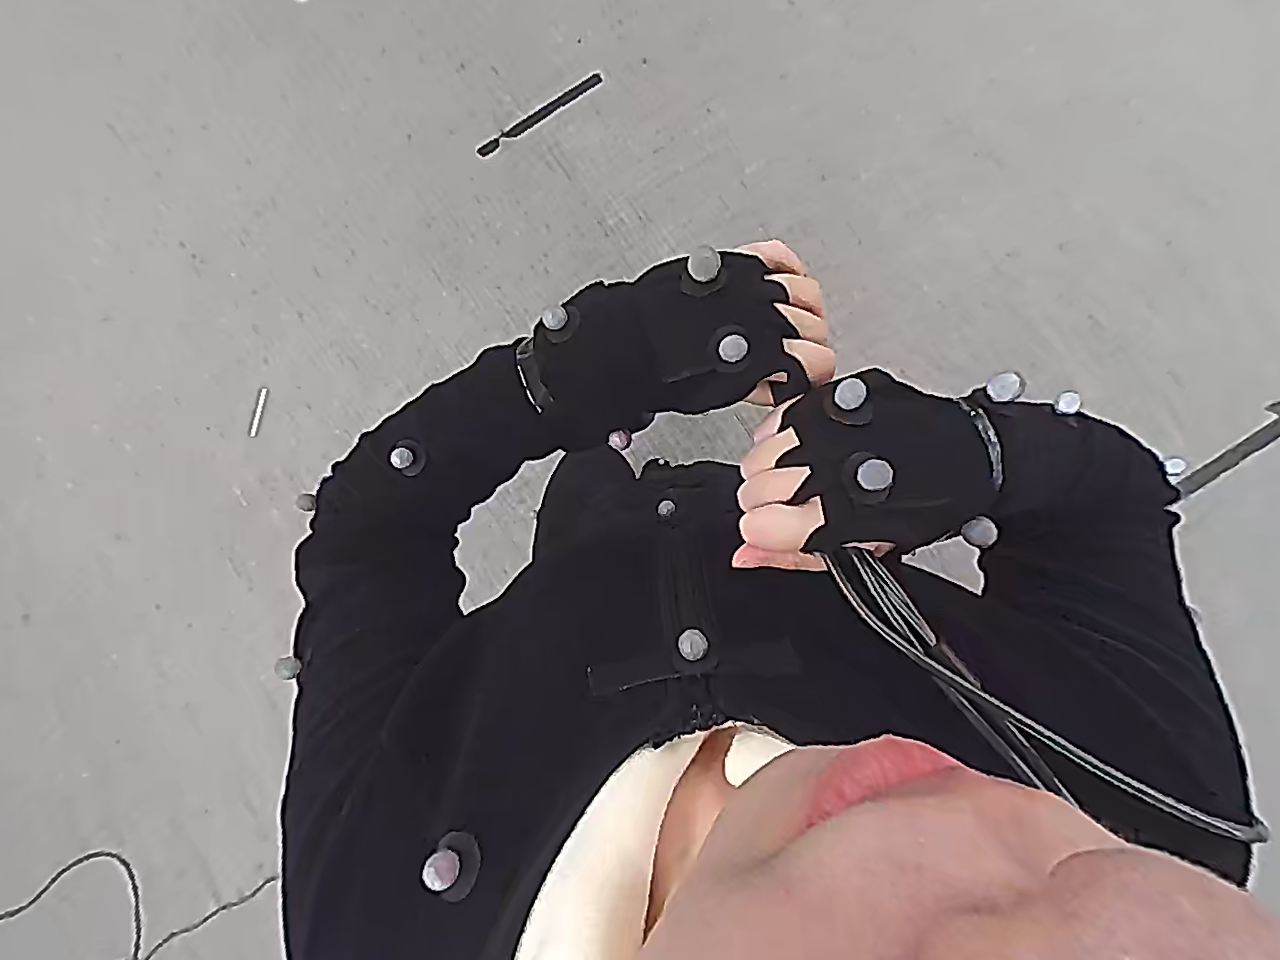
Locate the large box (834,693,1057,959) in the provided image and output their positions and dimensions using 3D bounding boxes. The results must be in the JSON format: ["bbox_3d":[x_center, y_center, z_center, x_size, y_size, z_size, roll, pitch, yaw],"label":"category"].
[{"bbox_3d":[0.637,0.727,1.179,0.320,0.320,0.408,-2,91,1],"label":"large box"}]
